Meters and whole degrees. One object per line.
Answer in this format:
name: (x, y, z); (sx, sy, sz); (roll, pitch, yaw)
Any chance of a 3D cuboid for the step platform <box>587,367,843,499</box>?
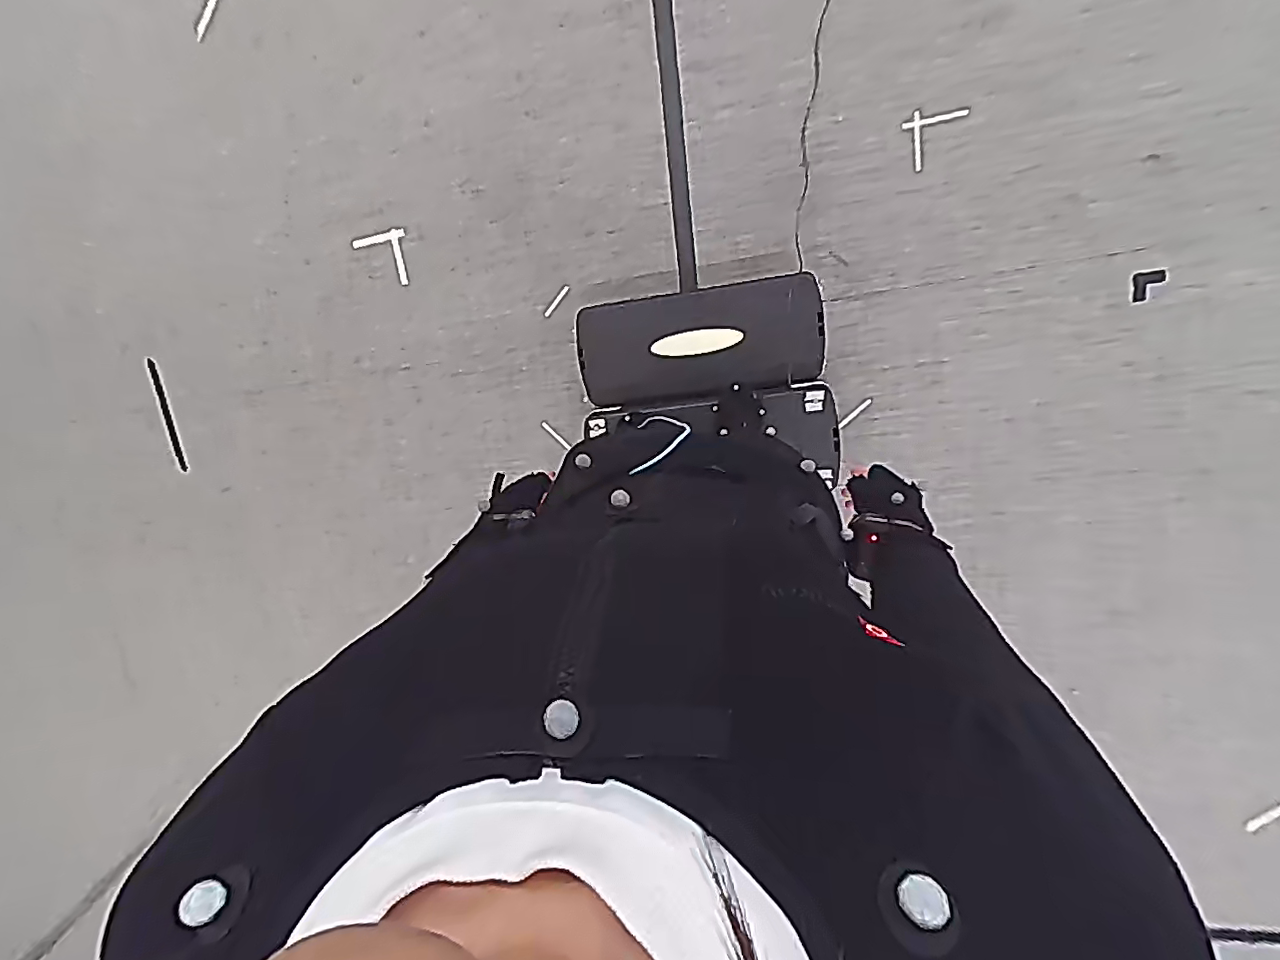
step platform: (0.199, -0.125, 1.499); (0.684, 0.204, 0.286); (-7, 100, 12)
